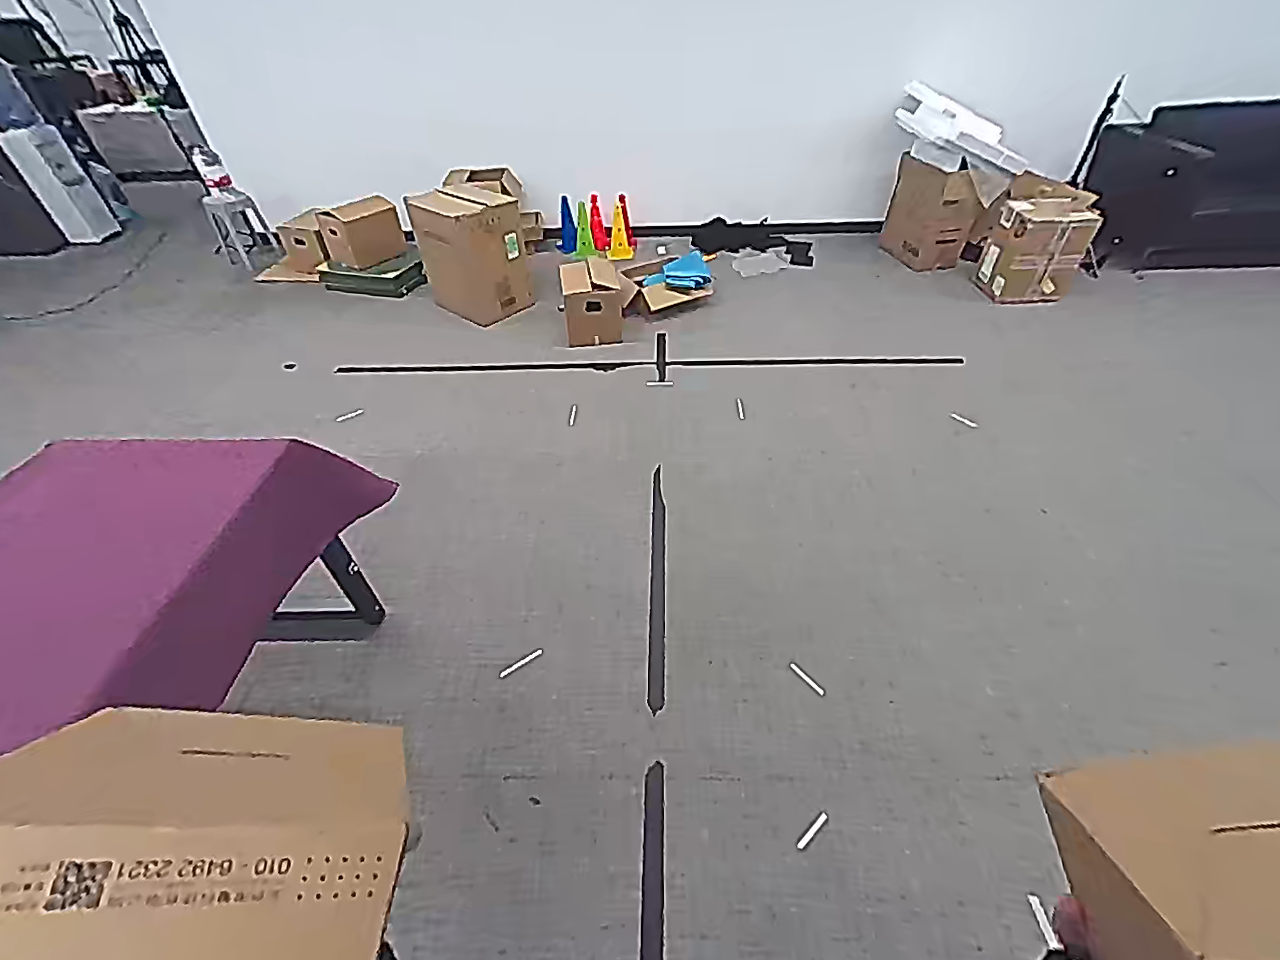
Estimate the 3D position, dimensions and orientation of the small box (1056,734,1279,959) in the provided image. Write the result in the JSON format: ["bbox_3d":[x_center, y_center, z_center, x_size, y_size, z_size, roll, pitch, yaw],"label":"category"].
[{"bbox_3d":[0.341,0.243,0.256,0.168,0.179,0.176,-15,81,17],"label":"small box"}]
